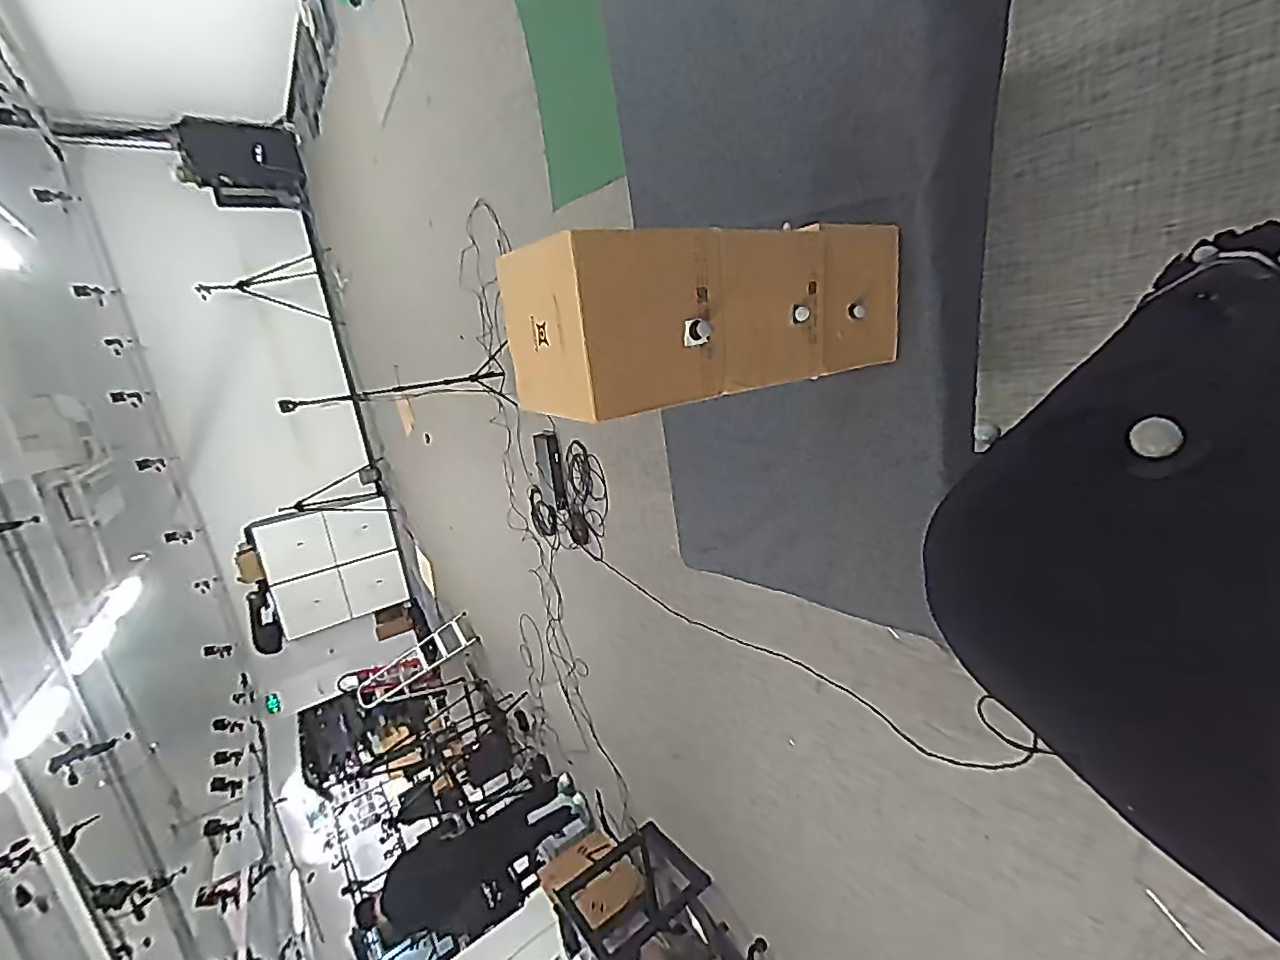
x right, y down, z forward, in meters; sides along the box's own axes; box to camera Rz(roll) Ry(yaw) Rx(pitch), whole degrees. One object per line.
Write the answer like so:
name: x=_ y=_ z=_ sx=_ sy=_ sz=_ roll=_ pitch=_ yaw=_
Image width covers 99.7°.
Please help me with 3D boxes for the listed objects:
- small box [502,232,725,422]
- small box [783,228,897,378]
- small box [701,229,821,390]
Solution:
small box: x=-0.029 y=-0.167 z=0.590 sx=0.179 sy=0.176 sz=0.168 roll=17 pitch=119 yaw=53
small box: x=0.239 y=-0.244 z=0.759 sx=0.168 sy=0.176 sz=0.179 roll=15 pitch=117 yaw=54
small box: x=0.102 y=-0.207 z=0.676 sx=0.179 sy=0.176 sz=0.168 roll=16 pitch=117 yaw=56
